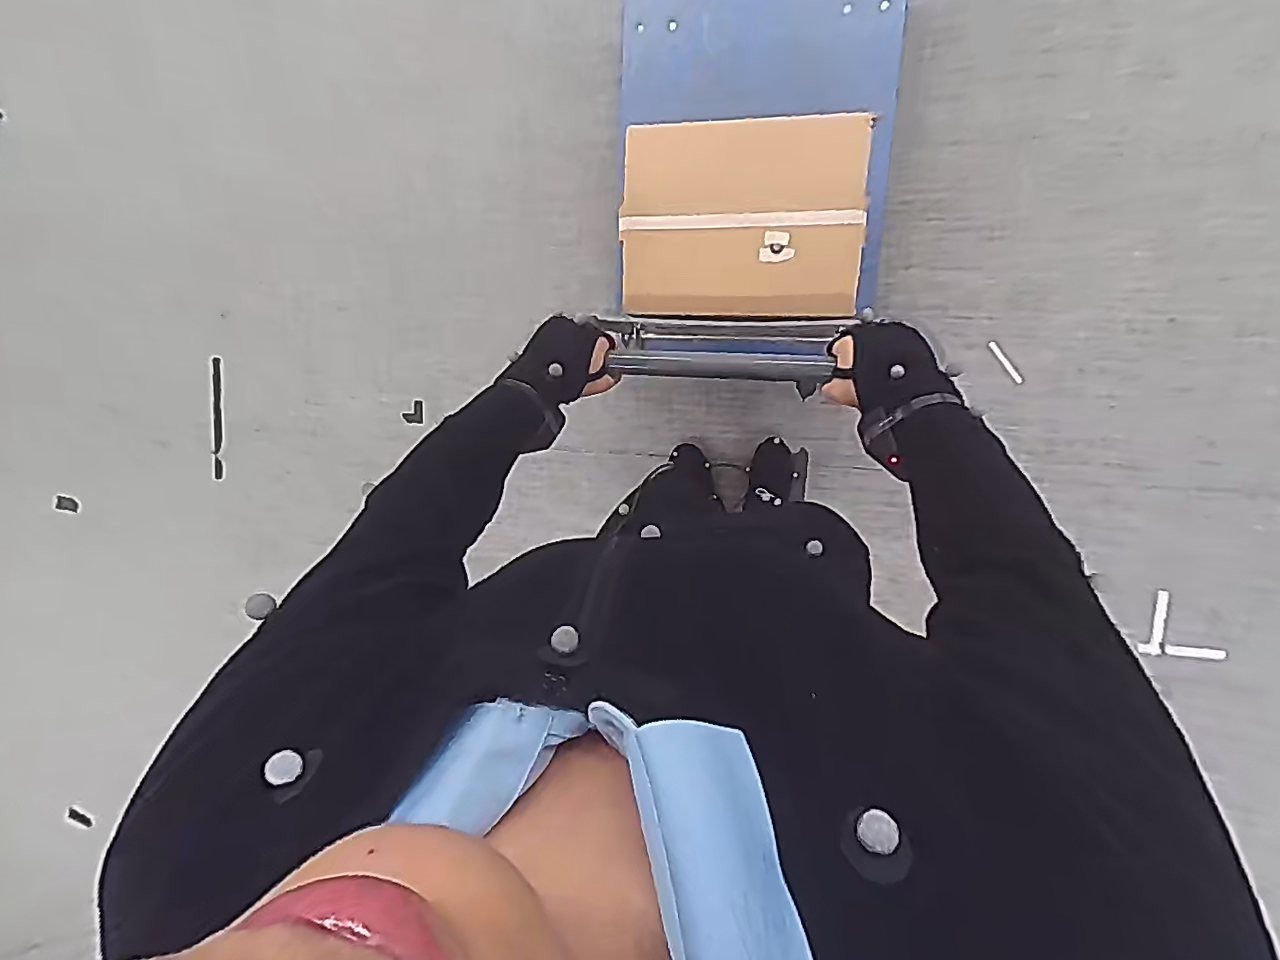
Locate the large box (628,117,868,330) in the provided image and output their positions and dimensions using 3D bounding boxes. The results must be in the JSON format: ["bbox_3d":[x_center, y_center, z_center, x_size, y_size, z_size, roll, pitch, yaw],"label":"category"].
[{"bbox_3d":[0.200,-0.473,1.081,0.408,0.320,0.320,3,102,10],"label":"large box"}]
